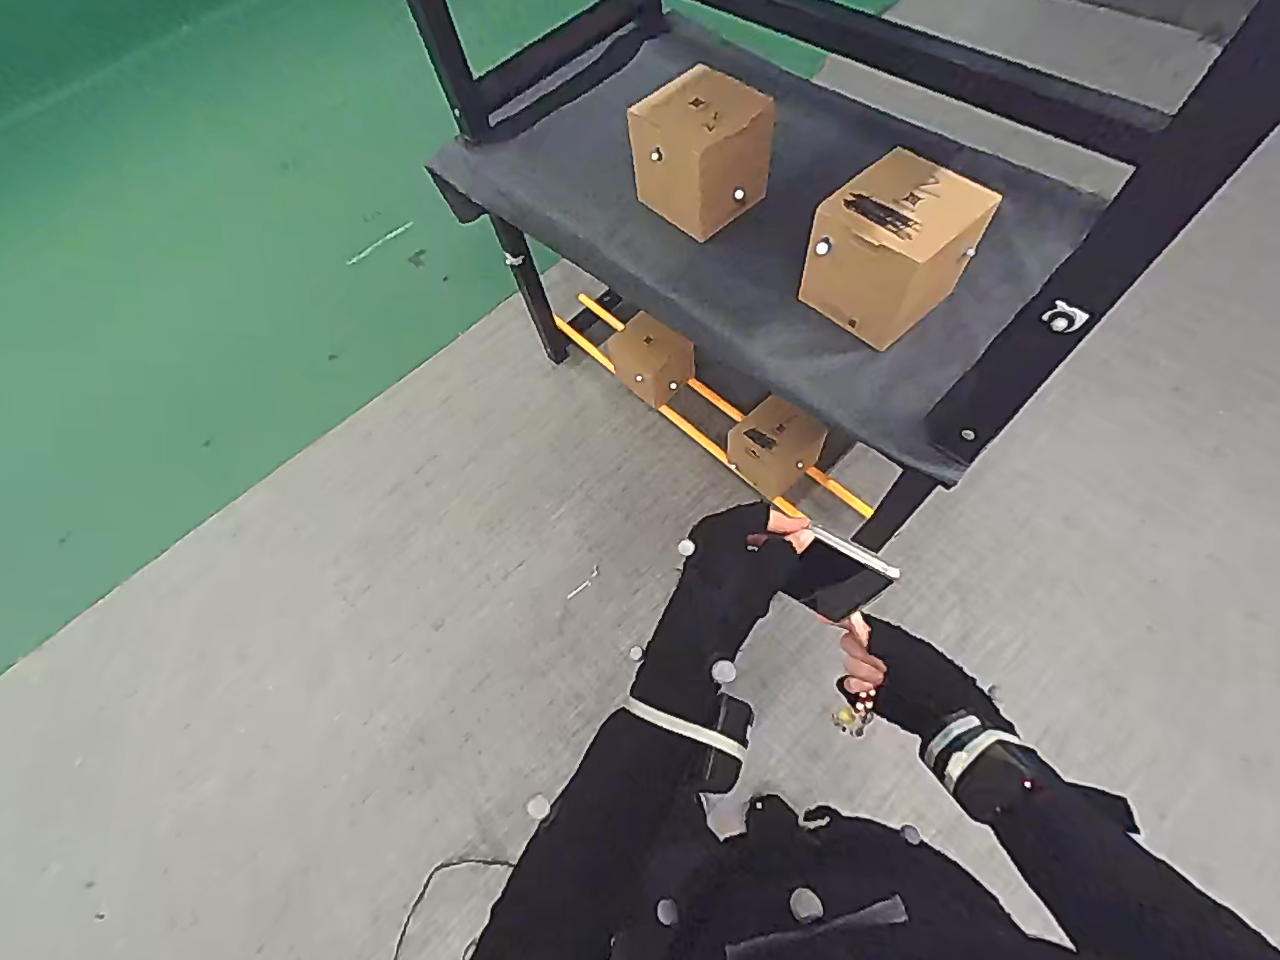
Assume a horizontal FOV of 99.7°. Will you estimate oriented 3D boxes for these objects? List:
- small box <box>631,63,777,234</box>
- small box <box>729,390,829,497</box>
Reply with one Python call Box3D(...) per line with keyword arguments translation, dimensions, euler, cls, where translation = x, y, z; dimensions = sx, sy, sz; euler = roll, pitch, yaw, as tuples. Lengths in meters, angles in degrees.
Box3D(translation=(0.108, -0.563, 0.930), dimensions=(0.168, 0.176, 0.179), euler=(-40, 65, -12), cls="small box")
Box3D(translation=(0.344, -0.085, 1.364), dimensions=(0.179, 0.176, 0.168), euler=(-40, 66, -11), cls="small box")
